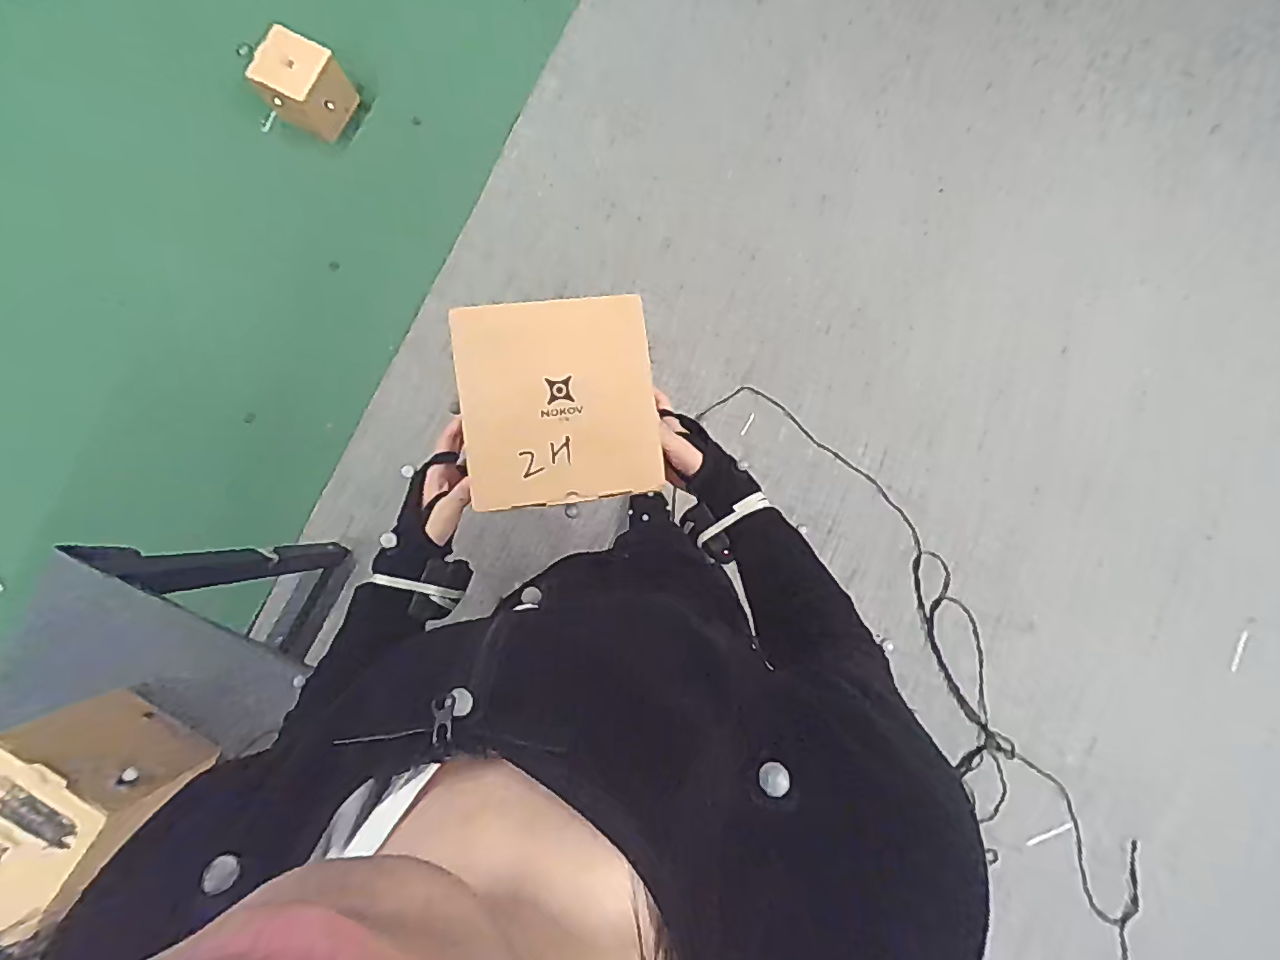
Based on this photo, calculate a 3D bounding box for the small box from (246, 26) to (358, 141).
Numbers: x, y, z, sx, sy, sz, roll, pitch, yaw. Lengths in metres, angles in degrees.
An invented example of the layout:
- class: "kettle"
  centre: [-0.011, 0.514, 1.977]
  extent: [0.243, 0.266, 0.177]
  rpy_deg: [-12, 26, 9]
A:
- class: "small box"
  centre: [-0.935, -1.099, 1.516]
  extent: [0.179, 0.176, 0.168]
  rpy_deg: [26, 86, 2]

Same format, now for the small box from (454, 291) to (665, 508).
- class: "small box"
  centre: [-0.079, -0.068, 0.542]
  extent: [0.168, 0.176, 0.179]
  rpy_deg: [-8, 88, -8]
